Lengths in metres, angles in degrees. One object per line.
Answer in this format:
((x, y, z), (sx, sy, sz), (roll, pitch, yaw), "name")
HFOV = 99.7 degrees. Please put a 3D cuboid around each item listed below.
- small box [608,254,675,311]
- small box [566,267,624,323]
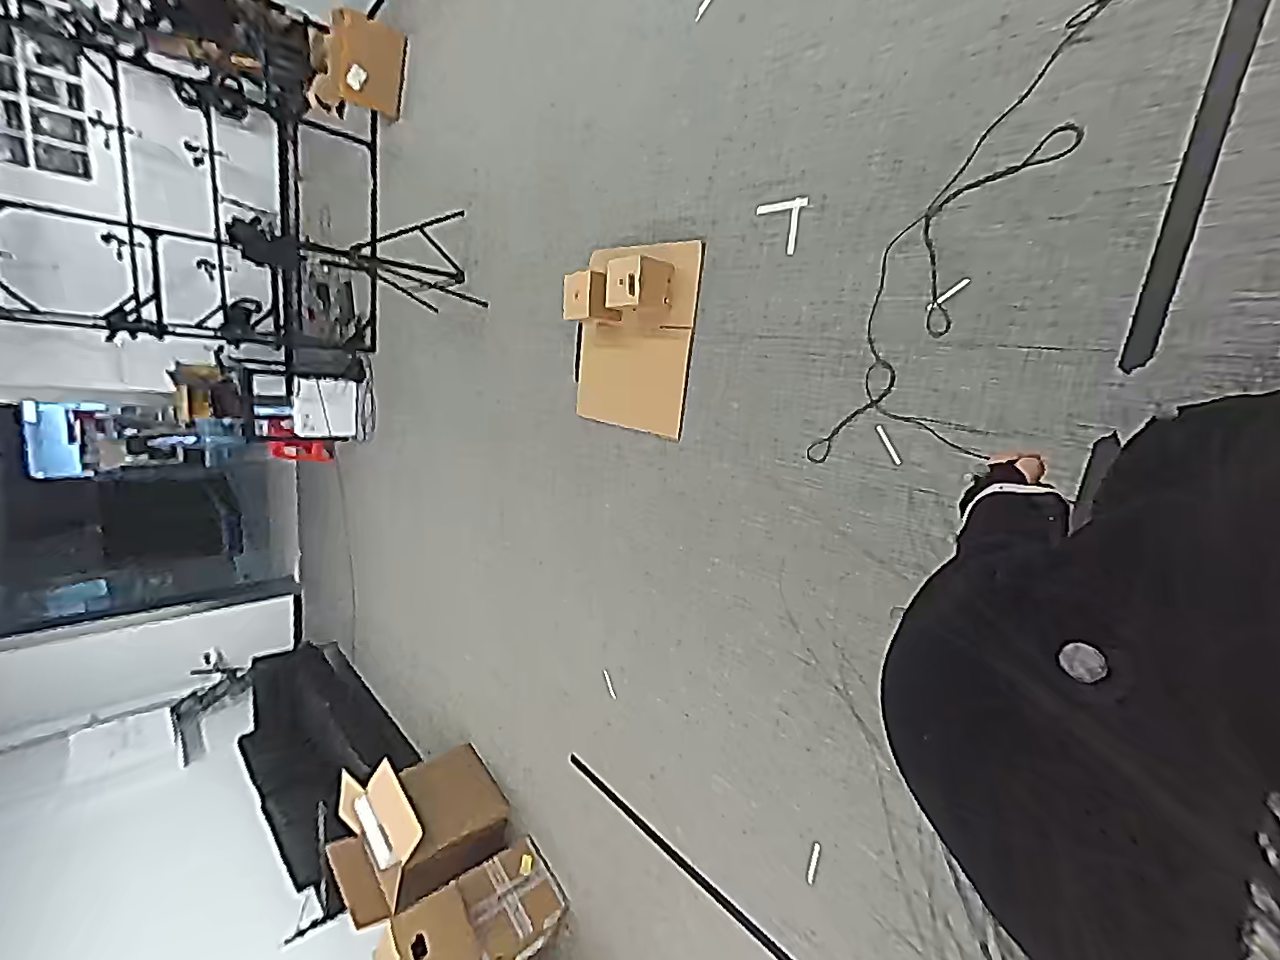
((0.008, -0.707, 1.948), (0.179, 0.176, 0.168), (14, 104, 44), "small box")
((-0.173, -0.724, 2.134), (0.168, 0.176, 0.179), (11, 103, 46), "small box")
